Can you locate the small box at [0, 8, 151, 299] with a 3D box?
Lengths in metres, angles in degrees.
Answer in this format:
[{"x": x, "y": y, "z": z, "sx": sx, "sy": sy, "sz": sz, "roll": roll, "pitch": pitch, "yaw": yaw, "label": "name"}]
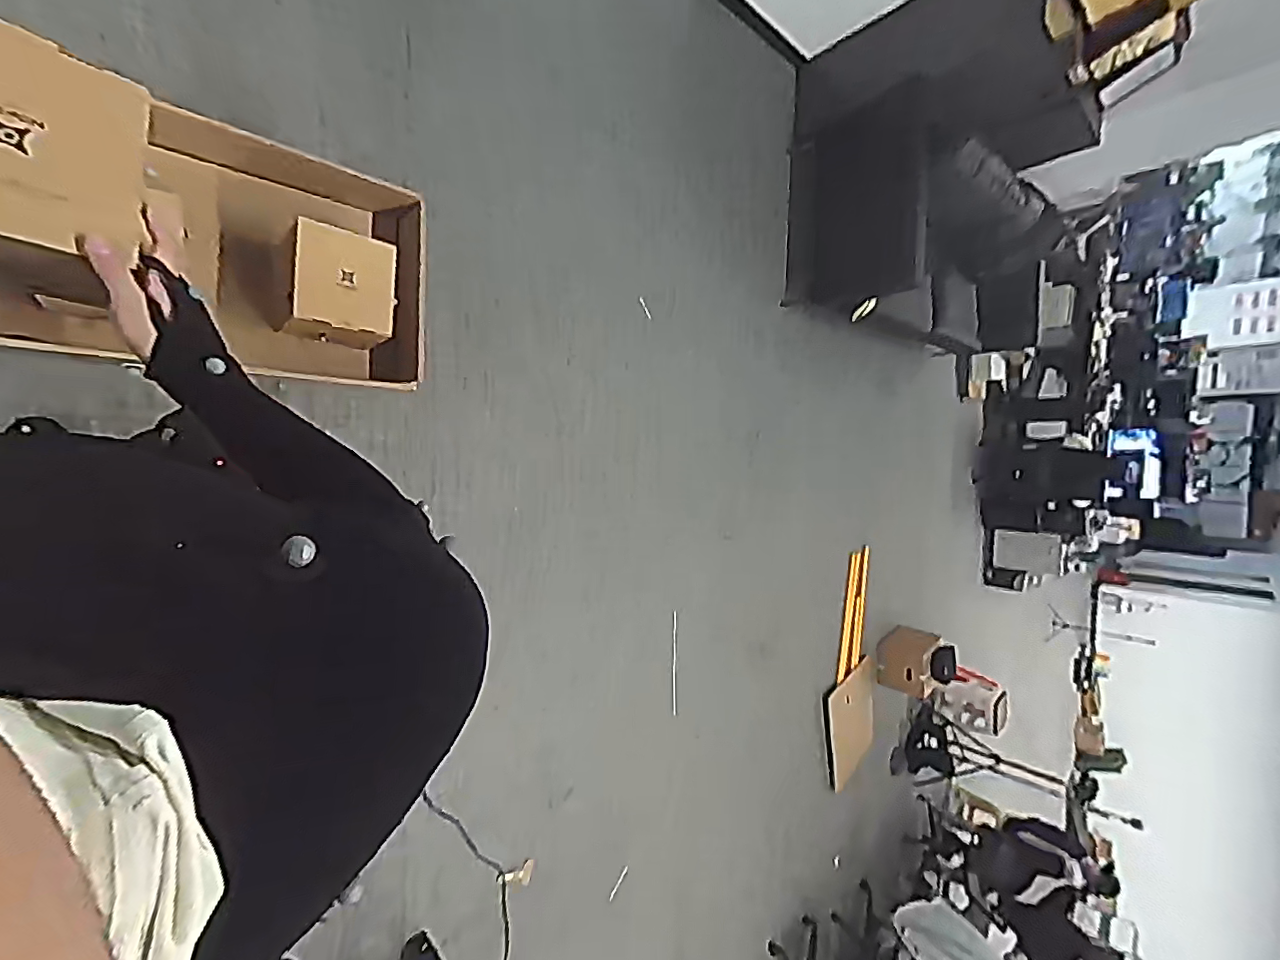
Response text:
[{"x": -0.566, "y": -0.287, "z": 0.482, "sx": 0.168, "sy": 0.176, "sz": 0.179, "roll": 5, "pitch": 85, "yaw": -49, "label": "small box"}]
